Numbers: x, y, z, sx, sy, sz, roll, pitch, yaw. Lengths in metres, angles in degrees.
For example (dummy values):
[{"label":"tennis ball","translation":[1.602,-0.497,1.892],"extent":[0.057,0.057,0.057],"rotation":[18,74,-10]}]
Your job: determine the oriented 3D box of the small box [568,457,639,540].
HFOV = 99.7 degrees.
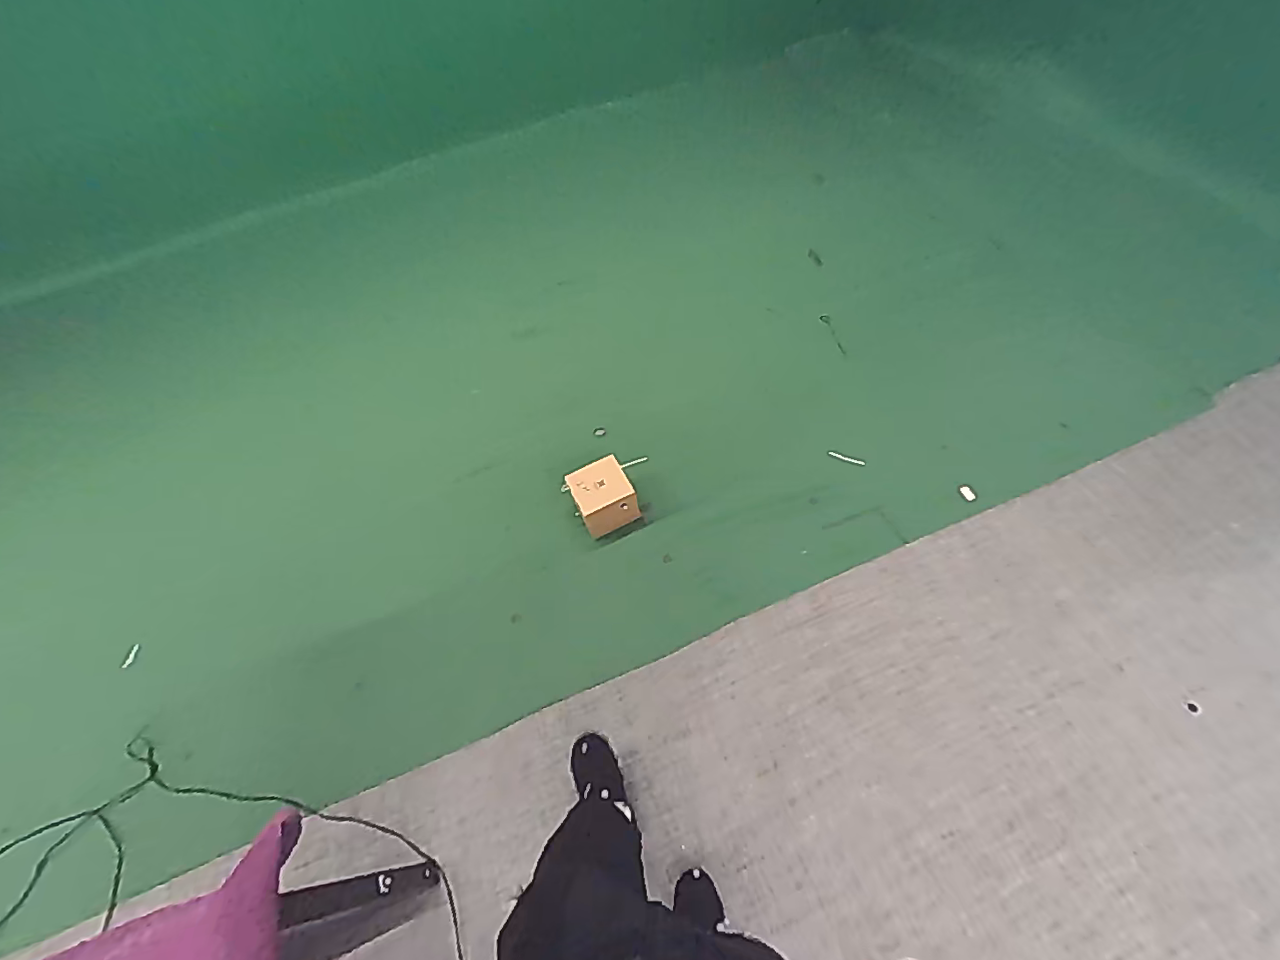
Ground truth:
[{"label":"small box","translation":[-0.110,0.062,1.740],"extent":[0.179,0.176,0.168],"rotation":[-25,59,-9]}]
